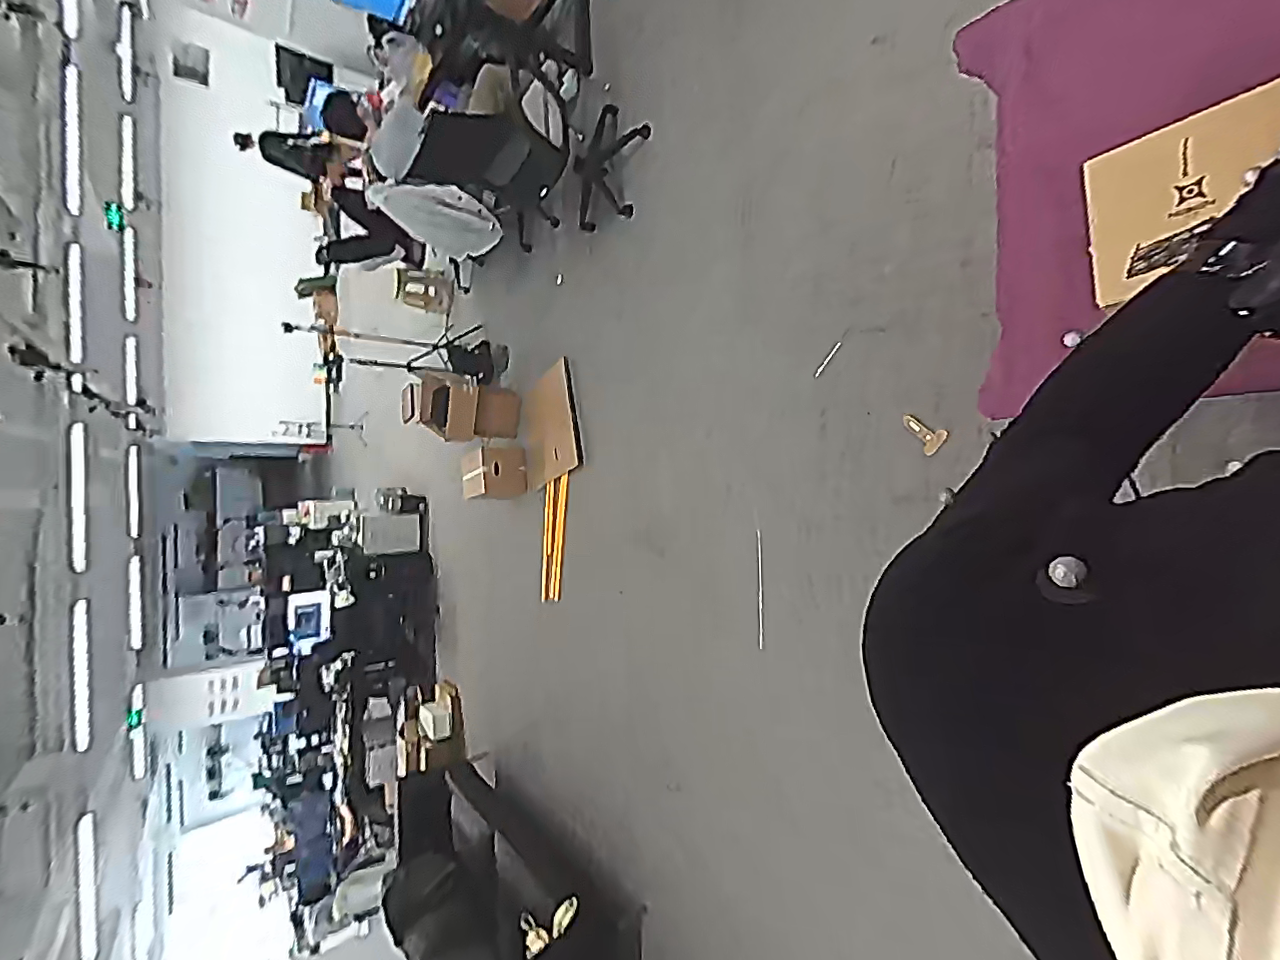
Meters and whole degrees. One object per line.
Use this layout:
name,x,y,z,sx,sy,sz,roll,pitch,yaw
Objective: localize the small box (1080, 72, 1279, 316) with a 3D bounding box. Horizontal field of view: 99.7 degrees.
small box,0.636,-0.300,0.617,0.168,0.176,0.179,-7,84,53
